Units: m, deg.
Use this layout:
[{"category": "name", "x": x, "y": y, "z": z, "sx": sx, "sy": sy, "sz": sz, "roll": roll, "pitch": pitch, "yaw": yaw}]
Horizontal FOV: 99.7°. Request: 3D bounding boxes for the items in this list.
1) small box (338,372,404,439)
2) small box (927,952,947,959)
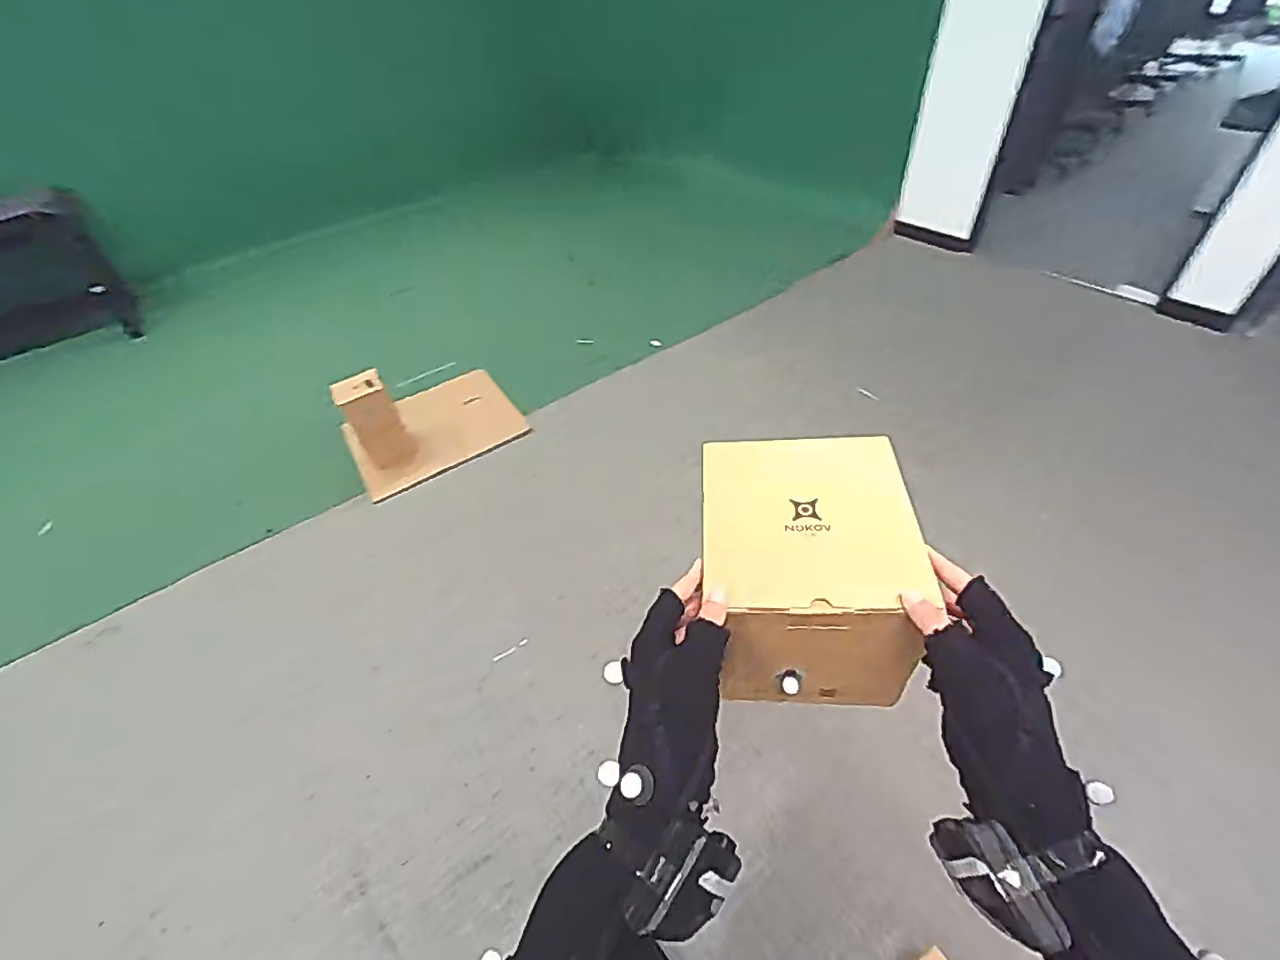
[{"category": "small box", "x": -1.061, "y": -0.294, "z": 2.150, "sx": 0.179, "sy": 0.176, "sz": 0.168, "roll": -28, "pitch": 48, "yaw": -15}, {"category": "small box", "x": 0.513, "y": 0.976, "z": 0.935, "sx": 0.168, "sy": 0.176, "sz": 0.179, "roll": -25, "pitch": 47, "yaw": -16}]
